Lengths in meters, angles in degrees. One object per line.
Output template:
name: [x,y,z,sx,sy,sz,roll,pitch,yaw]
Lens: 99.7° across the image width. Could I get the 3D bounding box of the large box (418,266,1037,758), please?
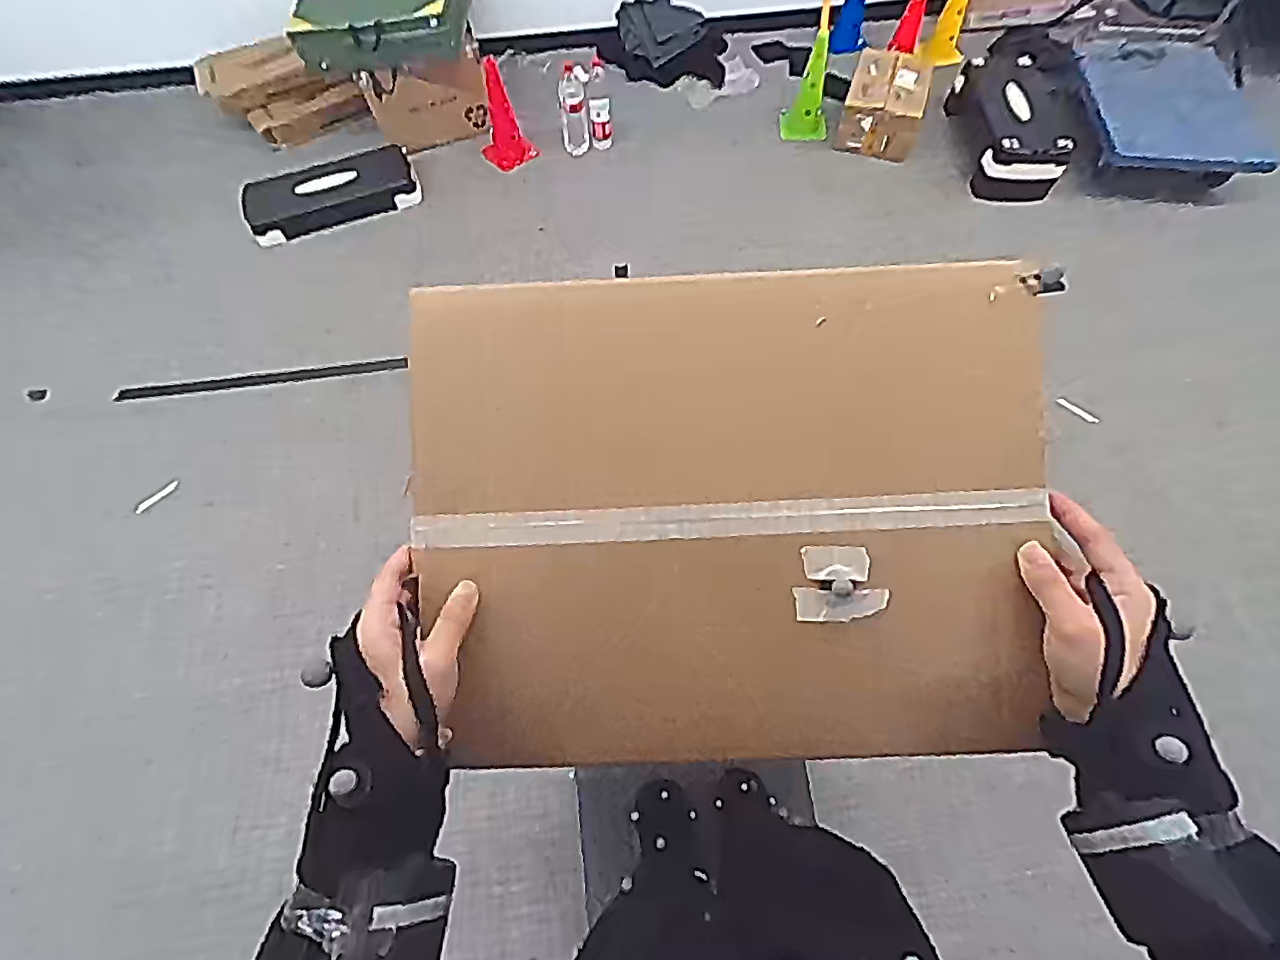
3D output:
large box: [0.056,0.024,0.509,0.408,0.320,0.320,-3,90,1]
